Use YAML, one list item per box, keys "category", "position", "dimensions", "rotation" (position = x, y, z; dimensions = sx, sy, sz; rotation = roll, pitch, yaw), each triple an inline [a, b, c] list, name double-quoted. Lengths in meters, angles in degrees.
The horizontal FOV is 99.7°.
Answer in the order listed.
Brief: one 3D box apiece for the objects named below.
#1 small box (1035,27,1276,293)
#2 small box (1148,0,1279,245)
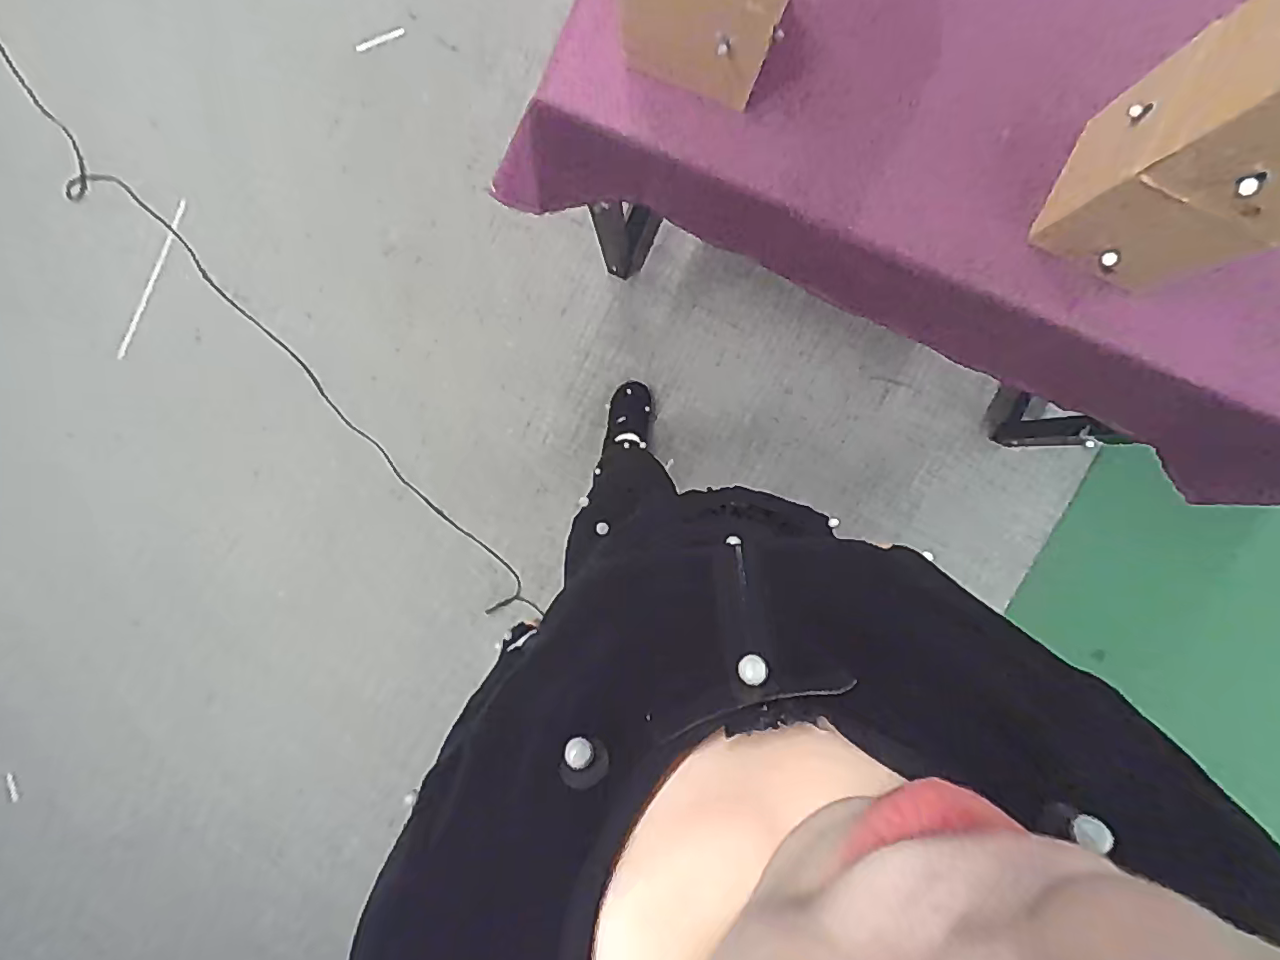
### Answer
- category: "small box"
  position: [0.618, -0.352, 0.632]
  dimensions: [0.168, 0.176, 0.179]
  rotation: [27, 94, 1]
- category: "small box"
  position: [0.615, -0.343, 0.469]
  dimensions: [0.168, 0.176, 0.179]
  rotation: [27, 94, 1]
